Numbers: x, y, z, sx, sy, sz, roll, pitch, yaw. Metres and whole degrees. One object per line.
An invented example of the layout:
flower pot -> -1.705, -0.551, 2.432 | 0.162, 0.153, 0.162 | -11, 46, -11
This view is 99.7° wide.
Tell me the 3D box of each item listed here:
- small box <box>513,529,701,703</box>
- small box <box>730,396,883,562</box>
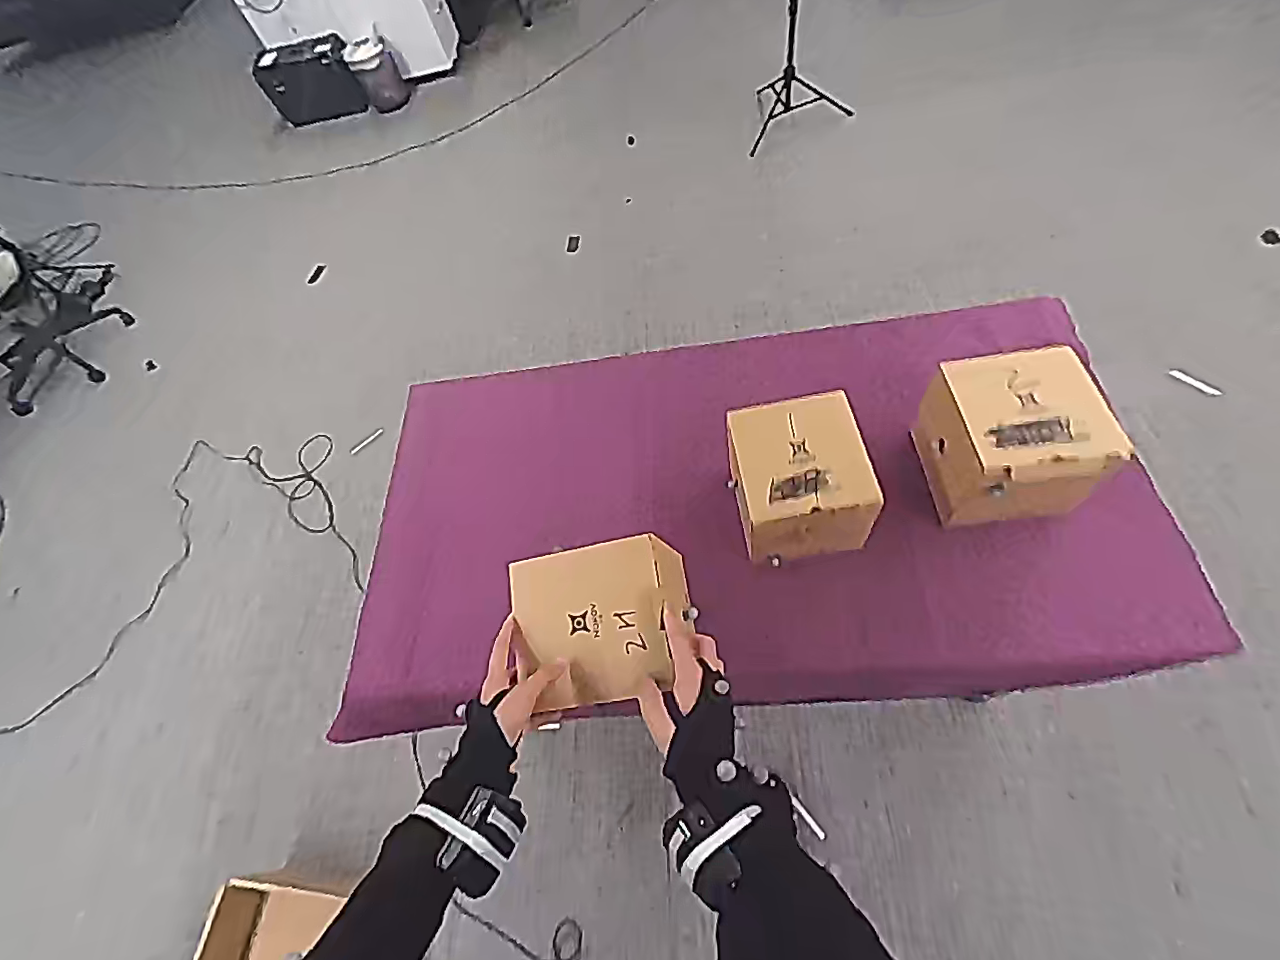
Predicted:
small box -> -0.035, 0.170, 0.659 | 0.179, 0.176, 0.168 | -13, 71, 12
small box -> 0.228, 0.009, 0.780 | 0.168, 0.176, 0.179 | -10, 59, 6
